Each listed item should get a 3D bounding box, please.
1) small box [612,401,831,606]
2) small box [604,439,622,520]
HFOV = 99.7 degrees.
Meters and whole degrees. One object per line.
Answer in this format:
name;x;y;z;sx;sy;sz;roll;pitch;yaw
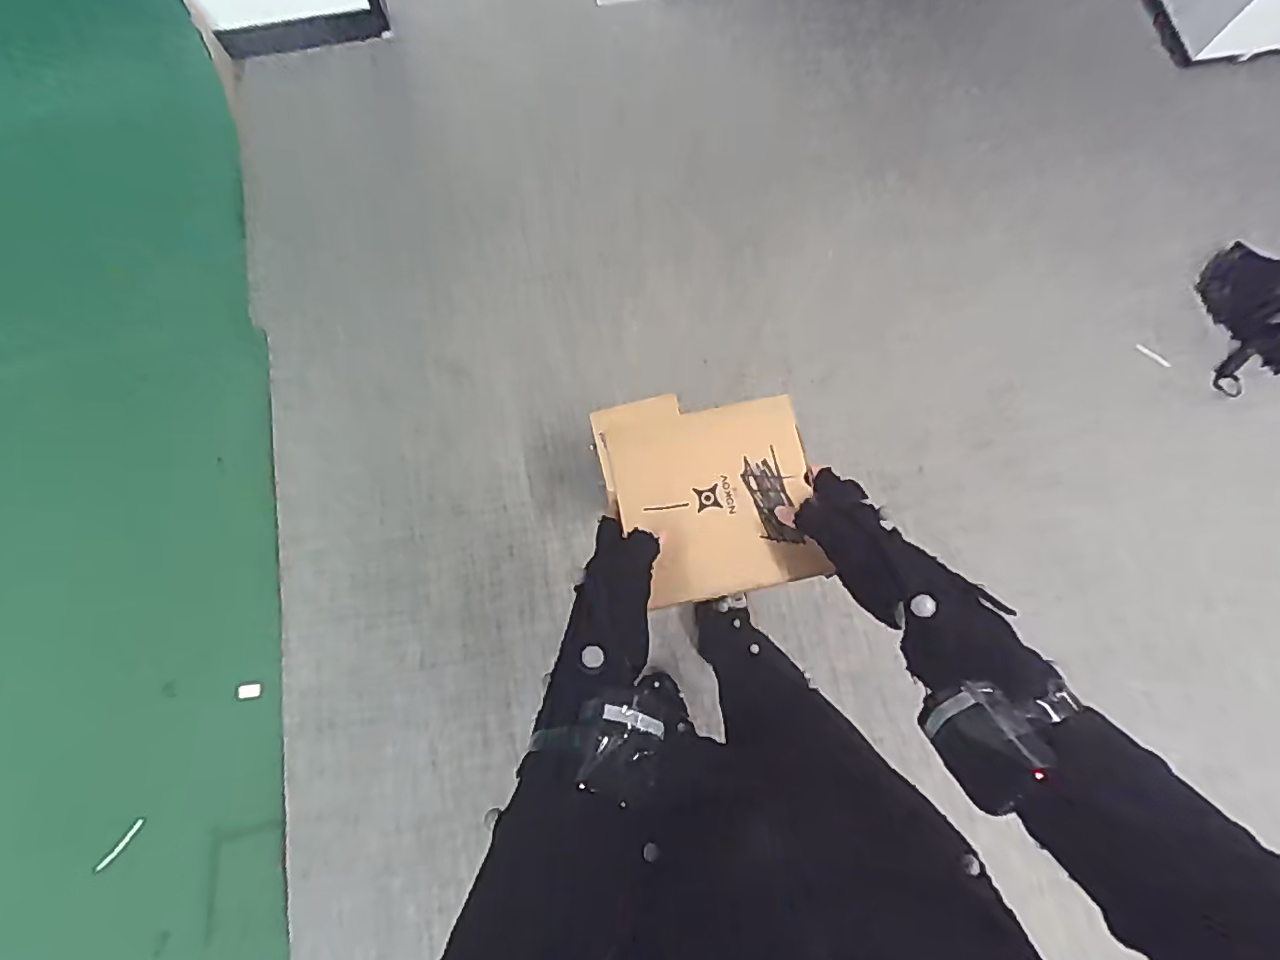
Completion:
small box;0.070;0.035;0.561;0.179;0.176;0.168;-9;74;-1
small box;0.020;-0.009;1.272;0.179;0.176;0.168;-13;75;-1
